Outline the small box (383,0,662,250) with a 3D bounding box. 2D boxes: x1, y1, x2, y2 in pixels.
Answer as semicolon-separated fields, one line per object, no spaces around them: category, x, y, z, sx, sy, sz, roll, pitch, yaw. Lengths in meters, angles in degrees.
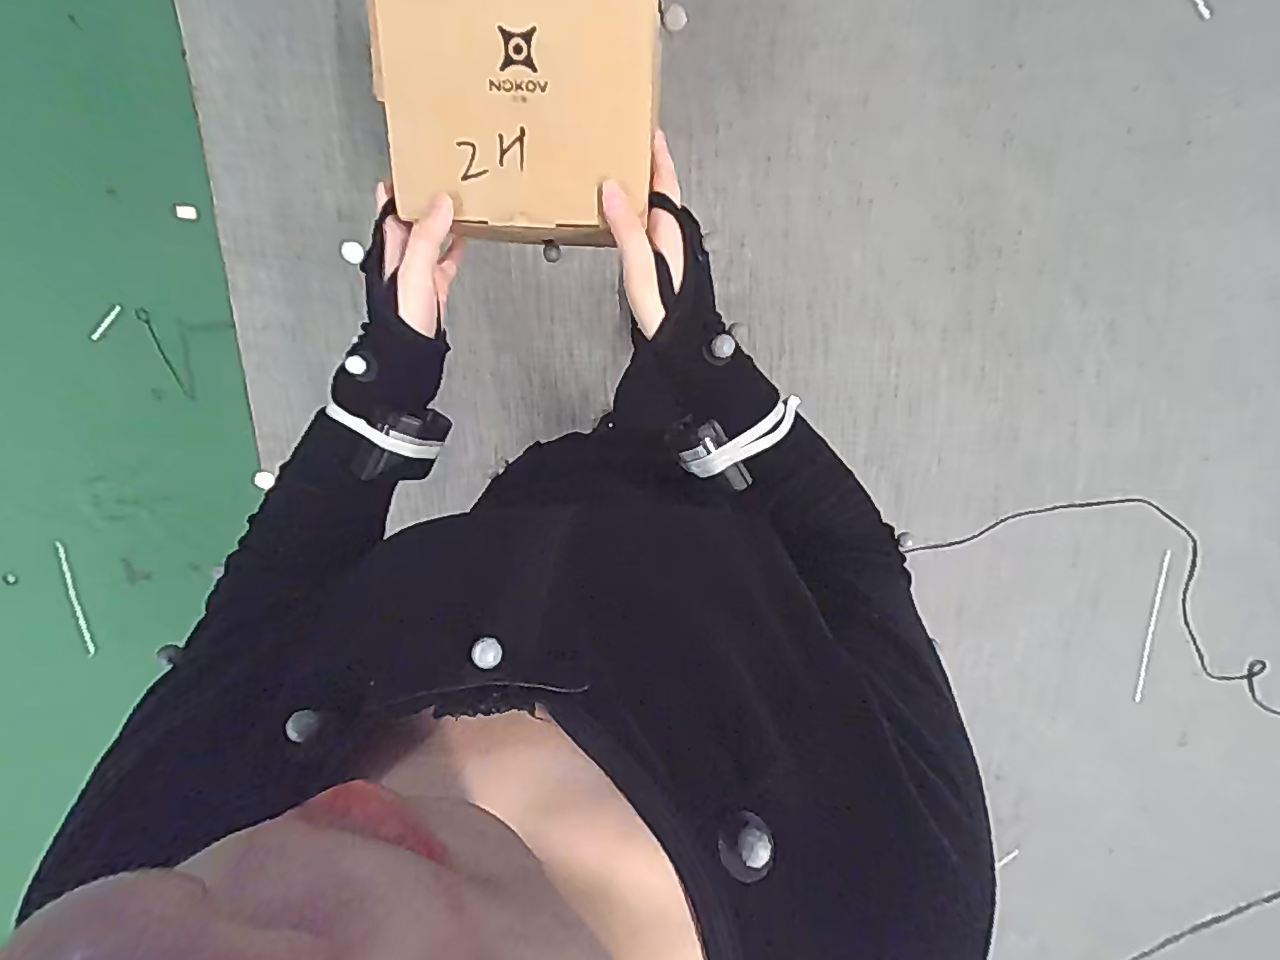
small box;-0.070;-0.278;0.405;0.168;0.176;0.179;3;109;2
